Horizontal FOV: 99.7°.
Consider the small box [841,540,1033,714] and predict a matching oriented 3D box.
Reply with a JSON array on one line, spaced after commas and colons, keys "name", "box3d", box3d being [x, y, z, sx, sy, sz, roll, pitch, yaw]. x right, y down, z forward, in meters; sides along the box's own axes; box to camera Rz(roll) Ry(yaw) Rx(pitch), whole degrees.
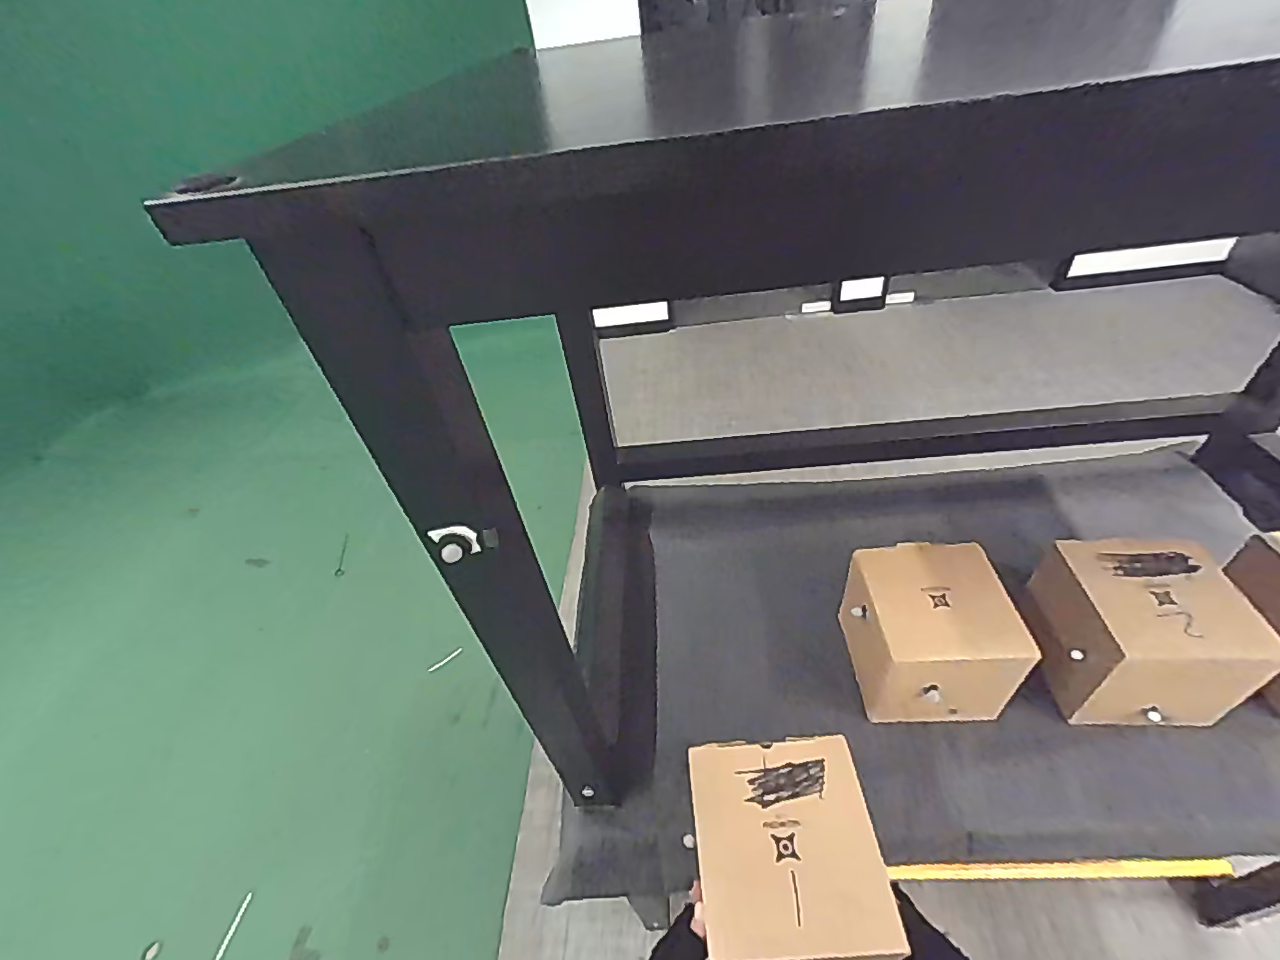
[{"name": "small box", "box3d": [0.387, 0.207, 0.743, 0.168, 0.176, 0.179, -4, 41, 6]}]

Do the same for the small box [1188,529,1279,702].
[{"name": "small box", "box3d": [0.875, 0.177, 0.680, 0.168, 0.176, 0.179, -5, 41, 5]}]
